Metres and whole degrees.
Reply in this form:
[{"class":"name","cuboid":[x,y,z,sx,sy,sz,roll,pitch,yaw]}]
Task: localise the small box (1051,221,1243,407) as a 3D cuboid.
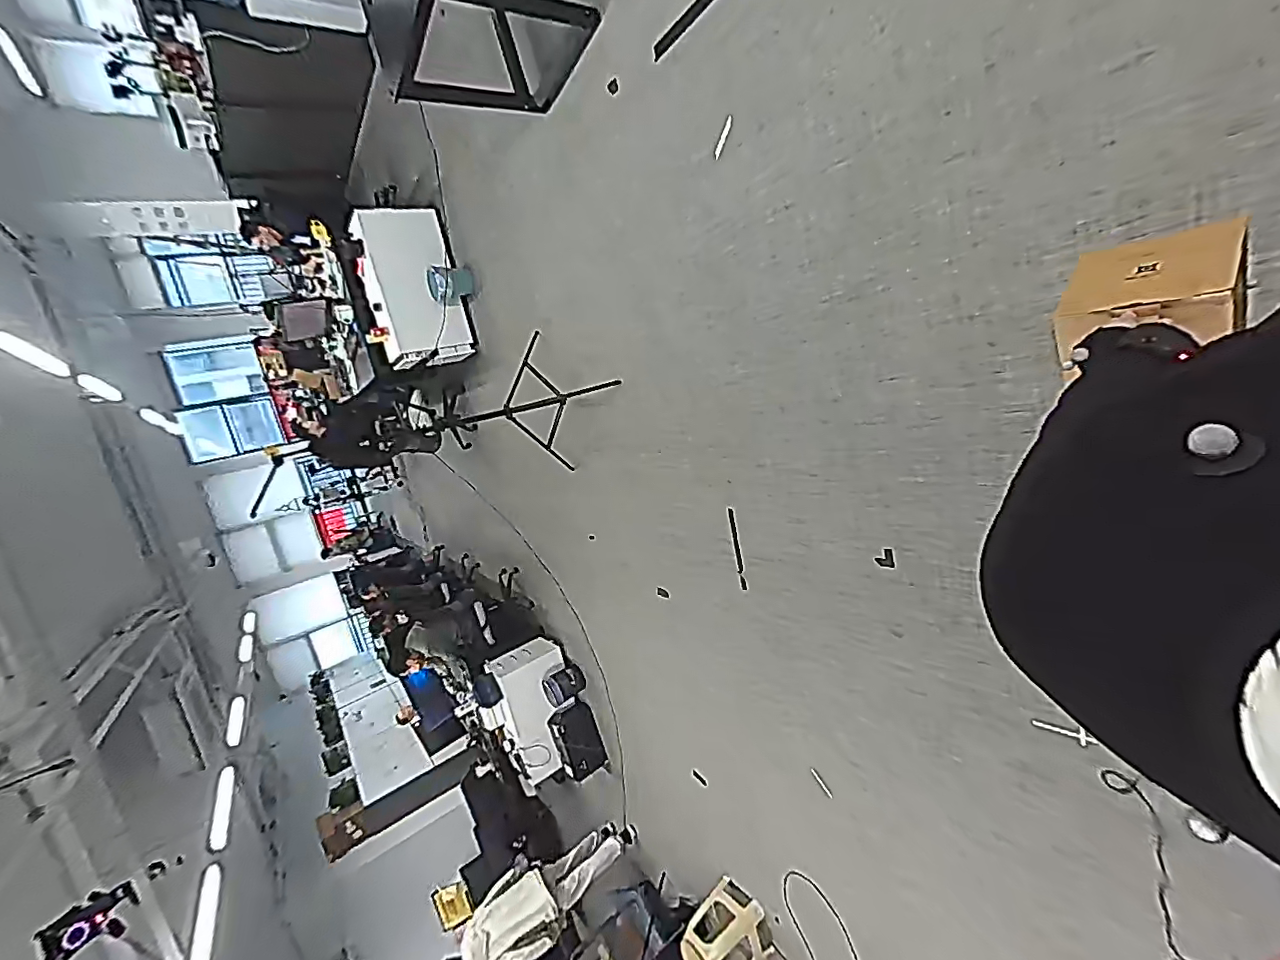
[{"class":"small box","cuboid":[0.694,-0.211,0.738,0.168,0.179,0.176,4,135,50]}]
